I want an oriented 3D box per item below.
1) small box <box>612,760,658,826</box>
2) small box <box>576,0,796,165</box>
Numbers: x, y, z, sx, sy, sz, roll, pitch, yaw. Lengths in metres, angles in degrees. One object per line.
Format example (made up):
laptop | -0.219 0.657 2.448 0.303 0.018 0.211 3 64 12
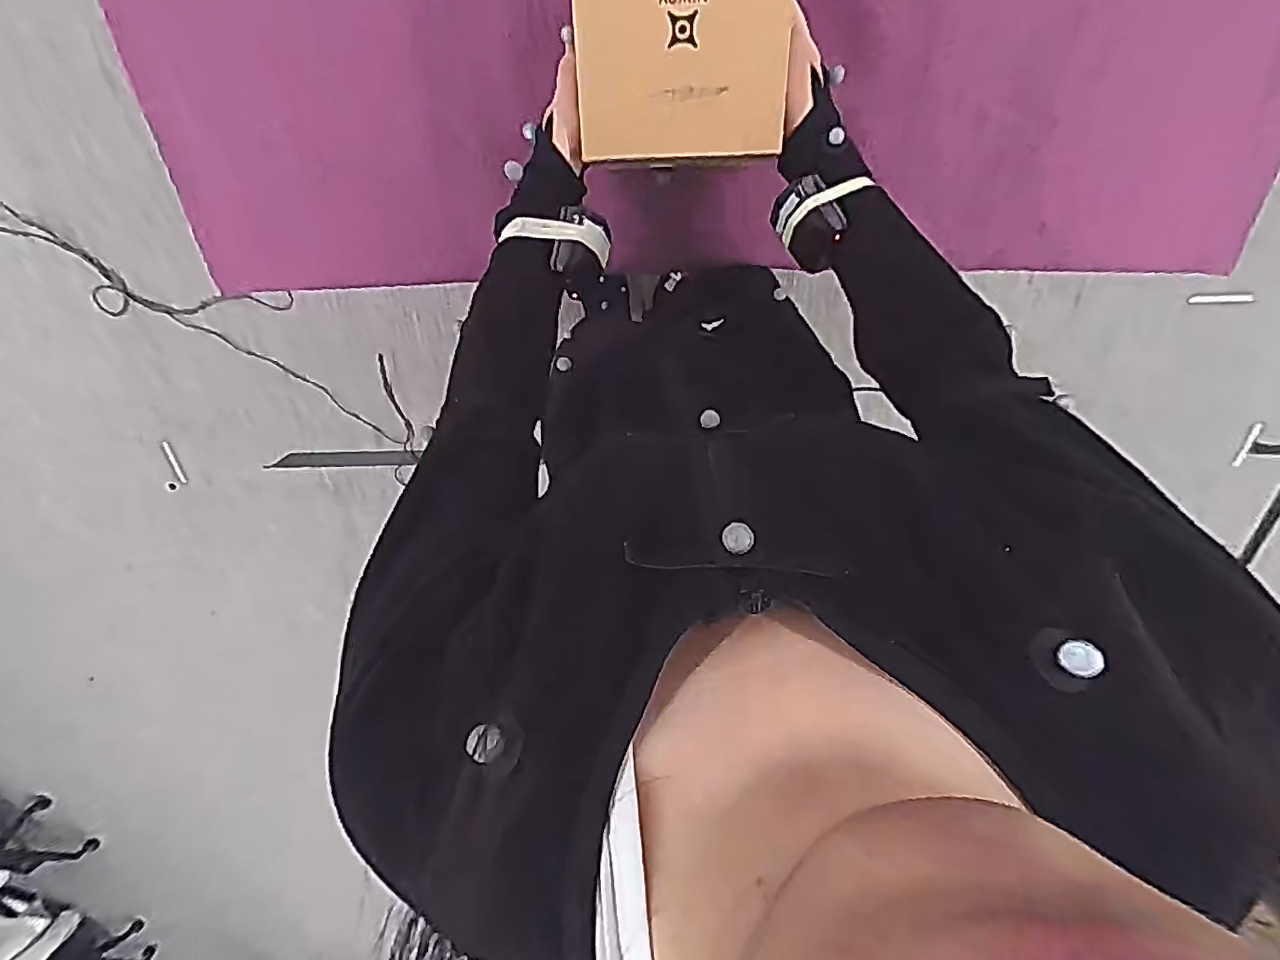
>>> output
small box | -0.017 1.271 2.199 0.168 0.176 0.179 -7 119 3
small box | 0.034 -0.382 0.471 0.168 0.176 0.179 -1 119 2
